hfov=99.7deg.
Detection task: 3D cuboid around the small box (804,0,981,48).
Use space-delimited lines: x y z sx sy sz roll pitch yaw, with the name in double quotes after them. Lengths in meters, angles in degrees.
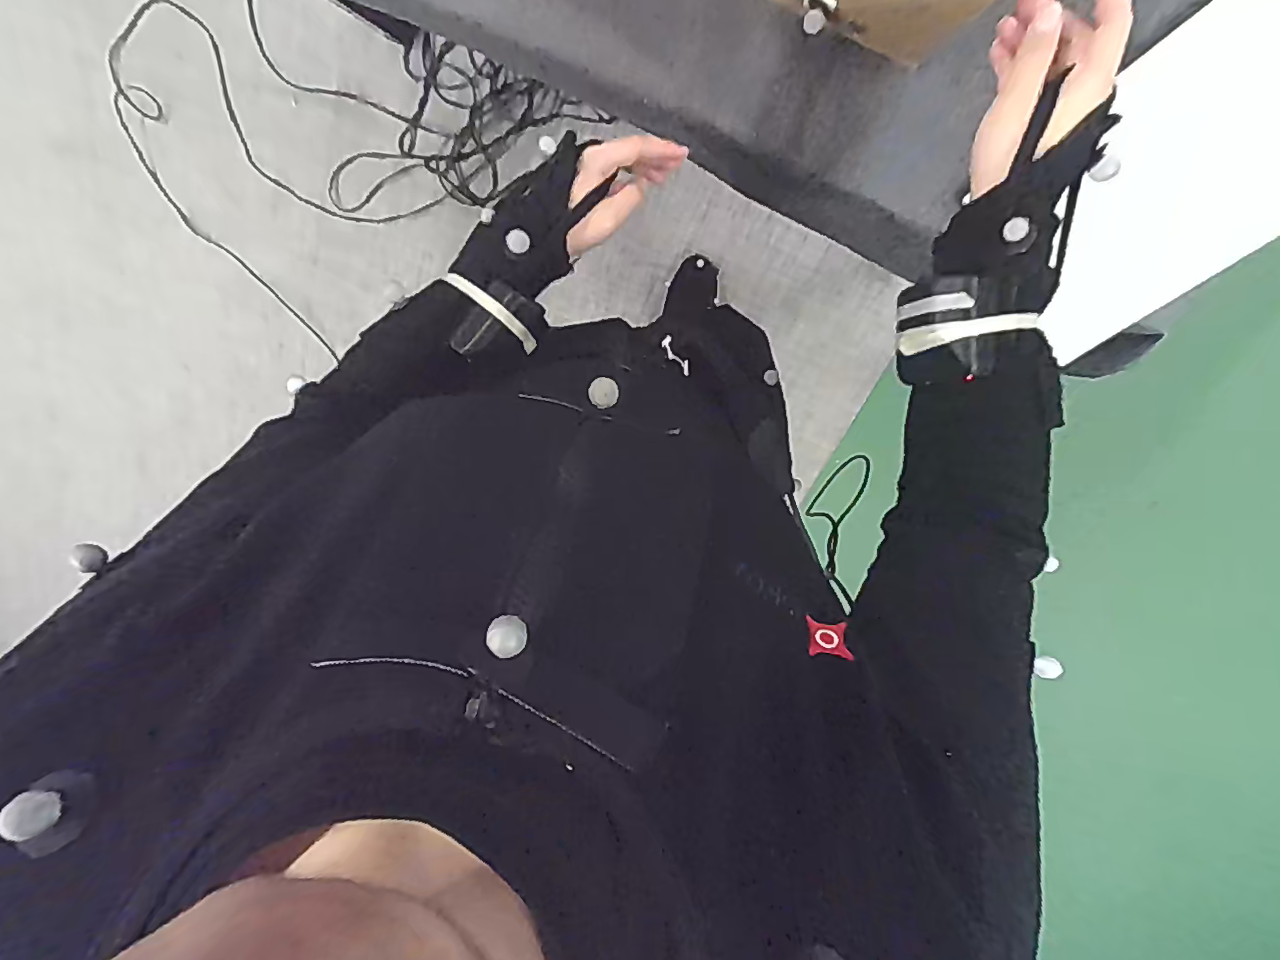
0.180 -0.422 0.335 0.168 0.176 0.179 23 116 -3 "small box"
